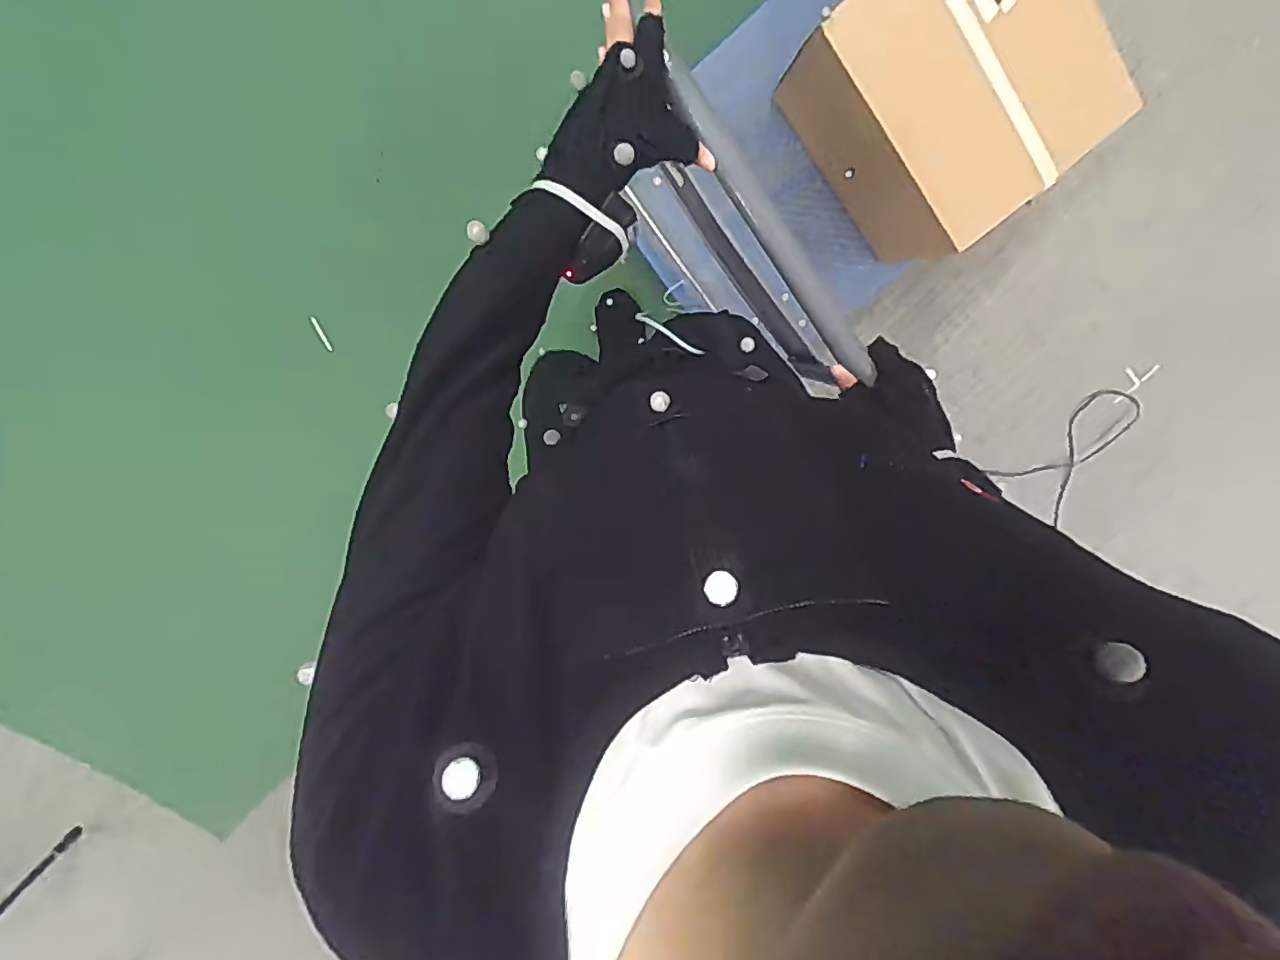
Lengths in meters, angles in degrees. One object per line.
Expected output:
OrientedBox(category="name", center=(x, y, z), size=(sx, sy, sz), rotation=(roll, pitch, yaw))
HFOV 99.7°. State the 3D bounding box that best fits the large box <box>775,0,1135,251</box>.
OrientedBox(category="large box", center=(0.500, -0.668, 0.935), size=(0.320, 0.320, 0.408), rotation=(-39, 104, 12))
